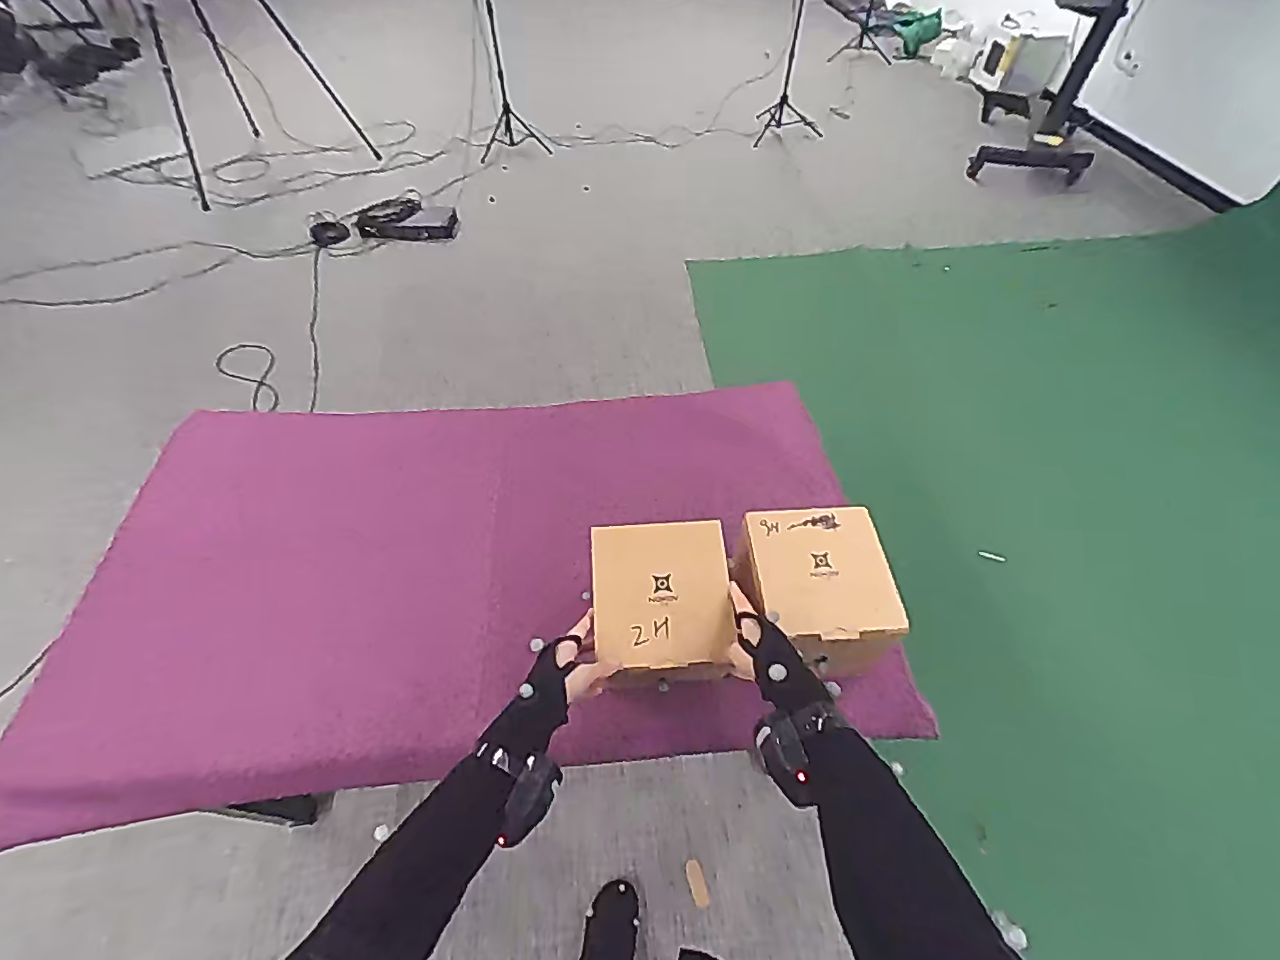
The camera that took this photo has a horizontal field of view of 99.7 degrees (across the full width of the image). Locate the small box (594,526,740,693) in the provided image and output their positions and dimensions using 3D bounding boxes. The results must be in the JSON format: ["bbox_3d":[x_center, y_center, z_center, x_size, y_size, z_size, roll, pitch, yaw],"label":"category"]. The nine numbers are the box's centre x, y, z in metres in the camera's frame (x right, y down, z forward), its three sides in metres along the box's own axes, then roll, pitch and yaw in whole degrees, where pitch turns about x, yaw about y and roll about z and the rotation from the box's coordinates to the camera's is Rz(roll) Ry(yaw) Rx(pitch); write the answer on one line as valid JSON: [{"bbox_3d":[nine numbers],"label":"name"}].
[{"bbox_3d":[0.026,0.174,0.710,0.168,0.176,0.179,-3,63,-1],"label":"small box"}]
